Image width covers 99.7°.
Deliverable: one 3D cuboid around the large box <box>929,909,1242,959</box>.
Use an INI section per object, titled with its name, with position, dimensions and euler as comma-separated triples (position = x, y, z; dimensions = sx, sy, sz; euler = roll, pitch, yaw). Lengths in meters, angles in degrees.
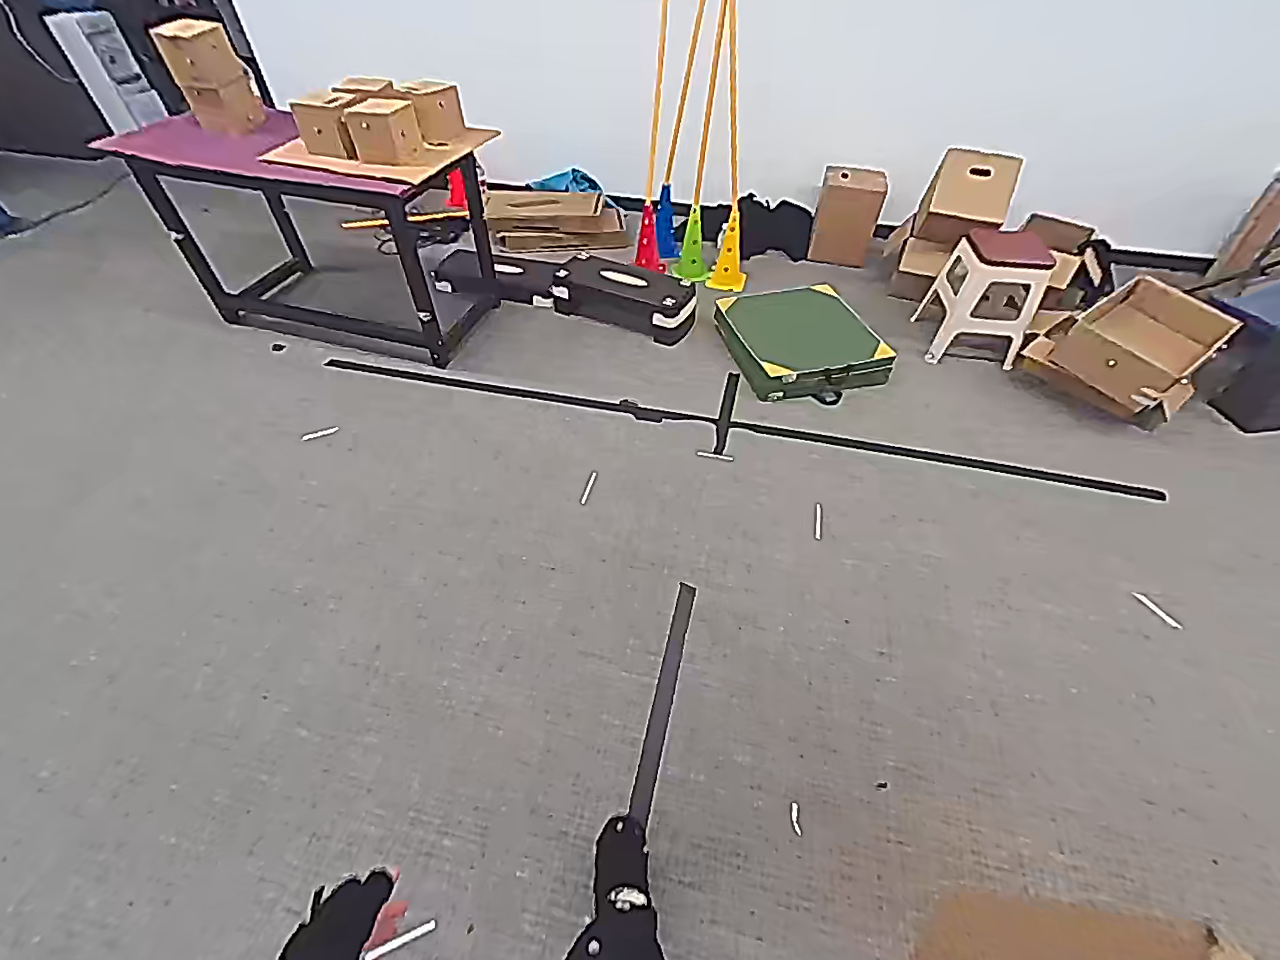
[large box]
position = 0.520, 0.732, 0.562
dimensions = 0.320, 0.408, 0.320
euler = -35, 70, -30
